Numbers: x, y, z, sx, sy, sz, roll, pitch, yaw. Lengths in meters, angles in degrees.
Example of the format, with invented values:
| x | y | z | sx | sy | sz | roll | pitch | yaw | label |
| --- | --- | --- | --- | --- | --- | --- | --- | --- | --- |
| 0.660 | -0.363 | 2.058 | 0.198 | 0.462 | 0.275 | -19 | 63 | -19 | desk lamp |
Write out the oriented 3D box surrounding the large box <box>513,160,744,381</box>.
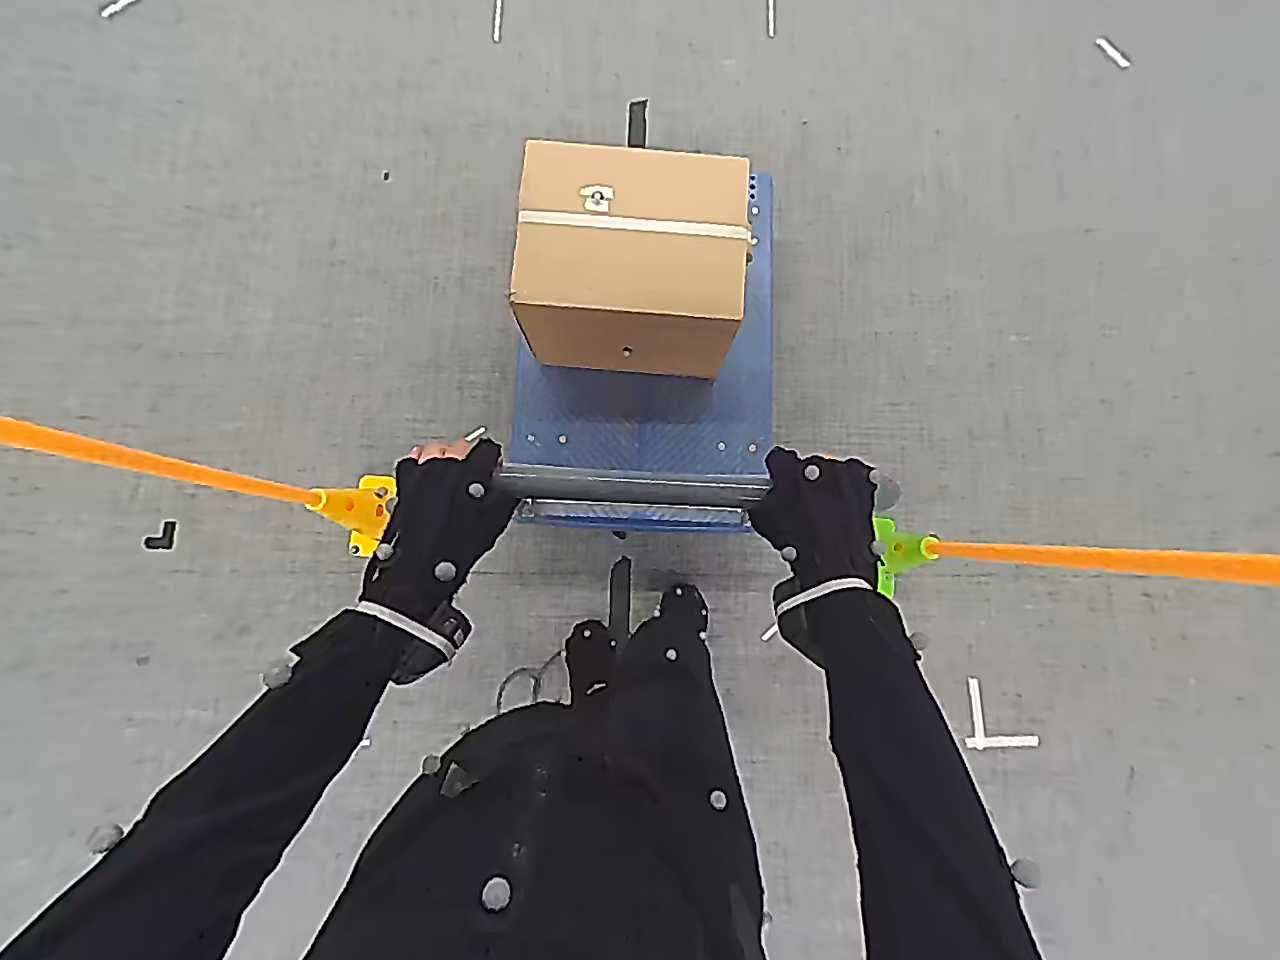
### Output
| x | y | z | sx | sy | sz | roll | pitch | yaw | label |
| --- | --- | --- | --- | --- | --- | --- | --- | --- | --- |
| -0.015 | -0.403 | 1.114 | 0.408 | 0.320 | 0.320 | 4 | 82 | 0 | large box |

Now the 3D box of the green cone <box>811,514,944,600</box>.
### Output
| x | y | z | sx | sy | sz | roll | pitch | yaw | label |
| --- | --- | --- | --- | --- | --- | --- | --- | --- | --- |
| 0.532 | 0.161 | 1.173 | 0.202 | 0.368 | 0.200 | 5 | 81 | -1 | green cone |
